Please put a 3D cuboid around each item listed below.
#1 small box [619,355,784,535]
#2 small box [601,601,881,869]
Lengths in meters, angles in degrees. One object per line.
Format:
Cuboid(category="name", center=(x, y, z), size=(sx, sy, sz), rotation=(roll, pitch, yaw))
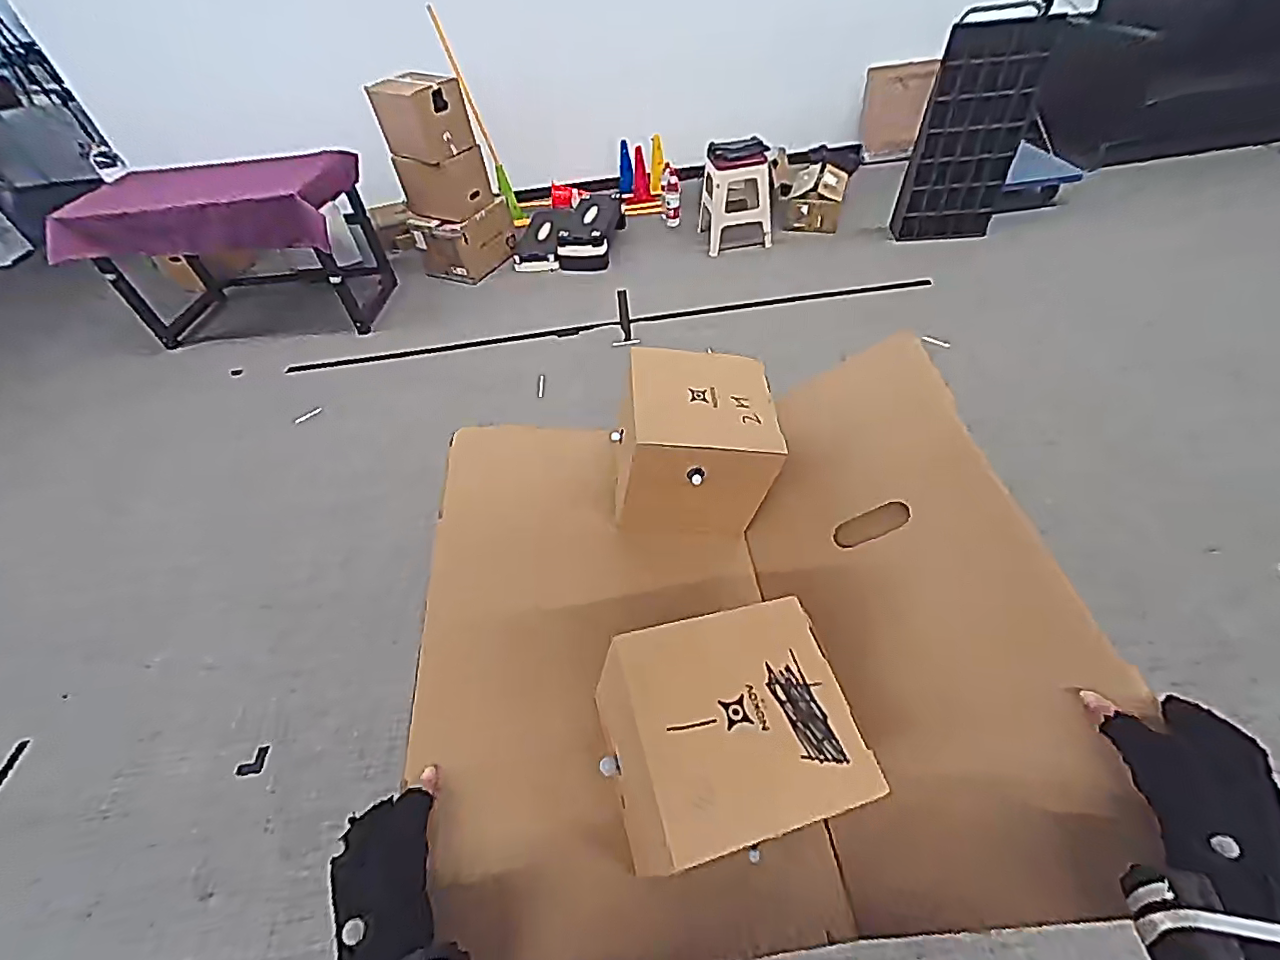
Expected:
Cuboid(category="small box", center=(0.065, -0.041, 0.713), size=(0.179, 0.176, 0.168), rotation=(4, 52, -9))
Cuboid(category="small box", center=(0.072, 0.234, 0.497), size=(0.179, 0.176, 0.168), rotation=(-8, 54, -16))
